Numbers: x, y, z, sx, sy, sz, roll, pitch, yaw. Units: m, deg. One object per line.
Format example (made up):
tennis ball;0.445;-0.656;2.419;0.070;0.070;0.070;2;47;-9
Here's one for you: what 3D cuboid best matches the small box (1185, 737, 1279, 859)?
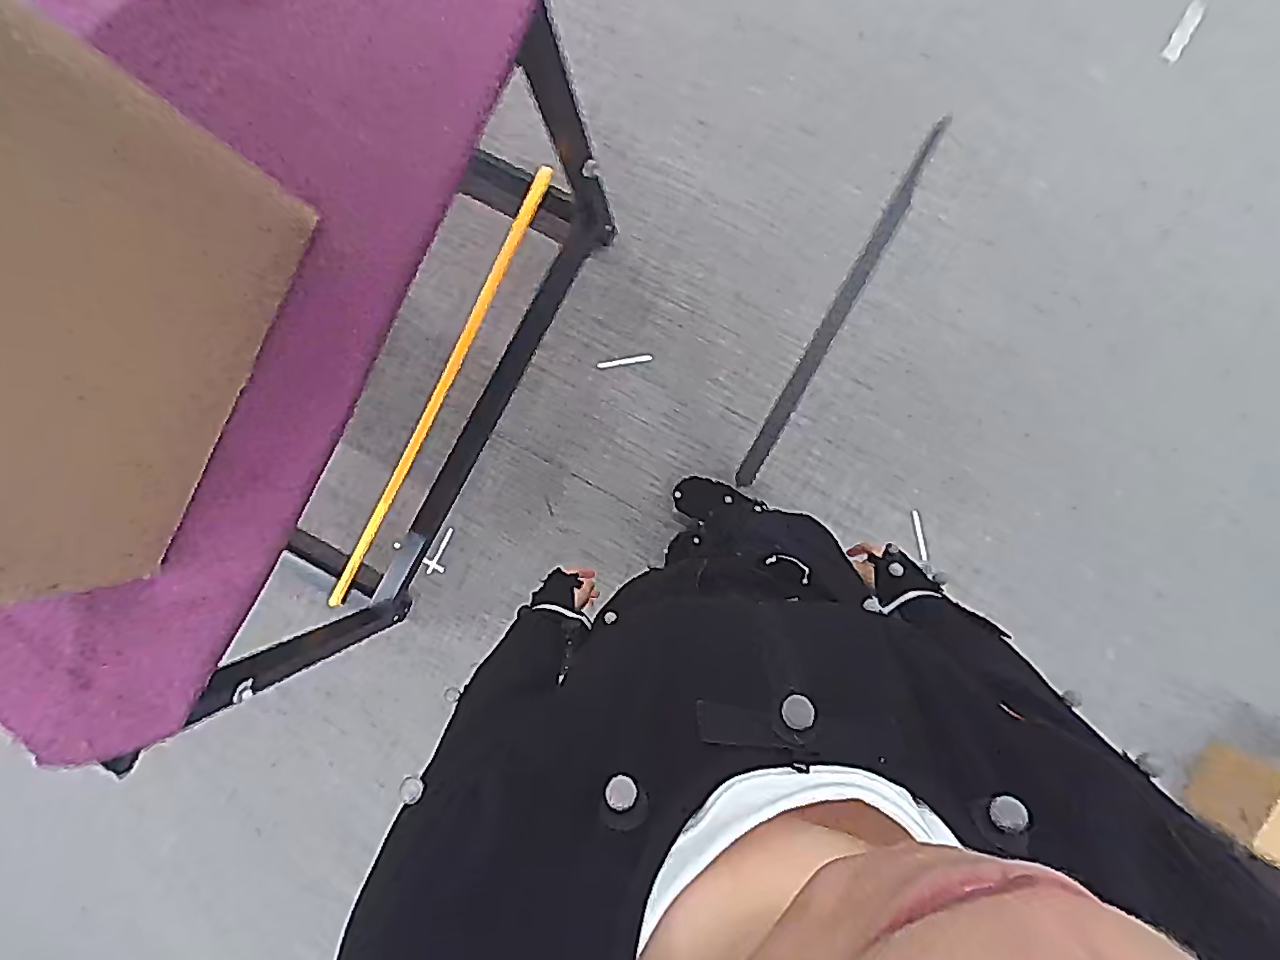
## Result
small box;1.382;0.713;1.193;0.168;0.176;0.179;28;92;4
